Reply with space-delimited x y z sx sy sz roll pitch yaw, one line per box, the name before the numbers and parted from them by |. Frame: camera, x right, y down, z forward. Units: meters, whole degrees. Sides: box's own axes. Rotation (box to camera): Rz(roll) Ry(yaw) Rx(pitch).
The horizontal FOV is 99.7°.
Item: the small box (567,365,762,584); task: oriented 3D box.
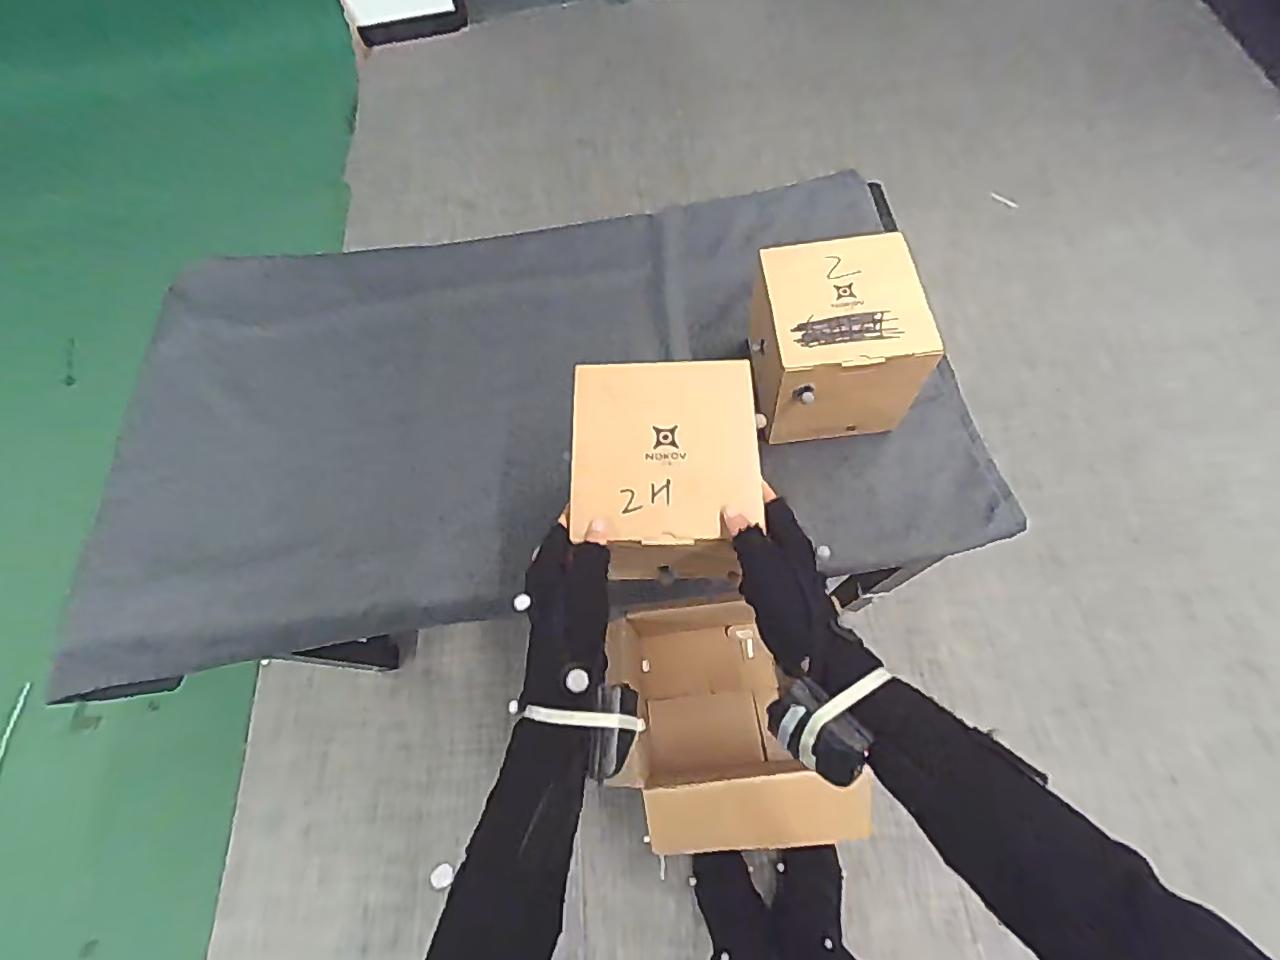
small box | 0.023 0.003 0.553 0.168 0.176 0.179 -2 68 3
